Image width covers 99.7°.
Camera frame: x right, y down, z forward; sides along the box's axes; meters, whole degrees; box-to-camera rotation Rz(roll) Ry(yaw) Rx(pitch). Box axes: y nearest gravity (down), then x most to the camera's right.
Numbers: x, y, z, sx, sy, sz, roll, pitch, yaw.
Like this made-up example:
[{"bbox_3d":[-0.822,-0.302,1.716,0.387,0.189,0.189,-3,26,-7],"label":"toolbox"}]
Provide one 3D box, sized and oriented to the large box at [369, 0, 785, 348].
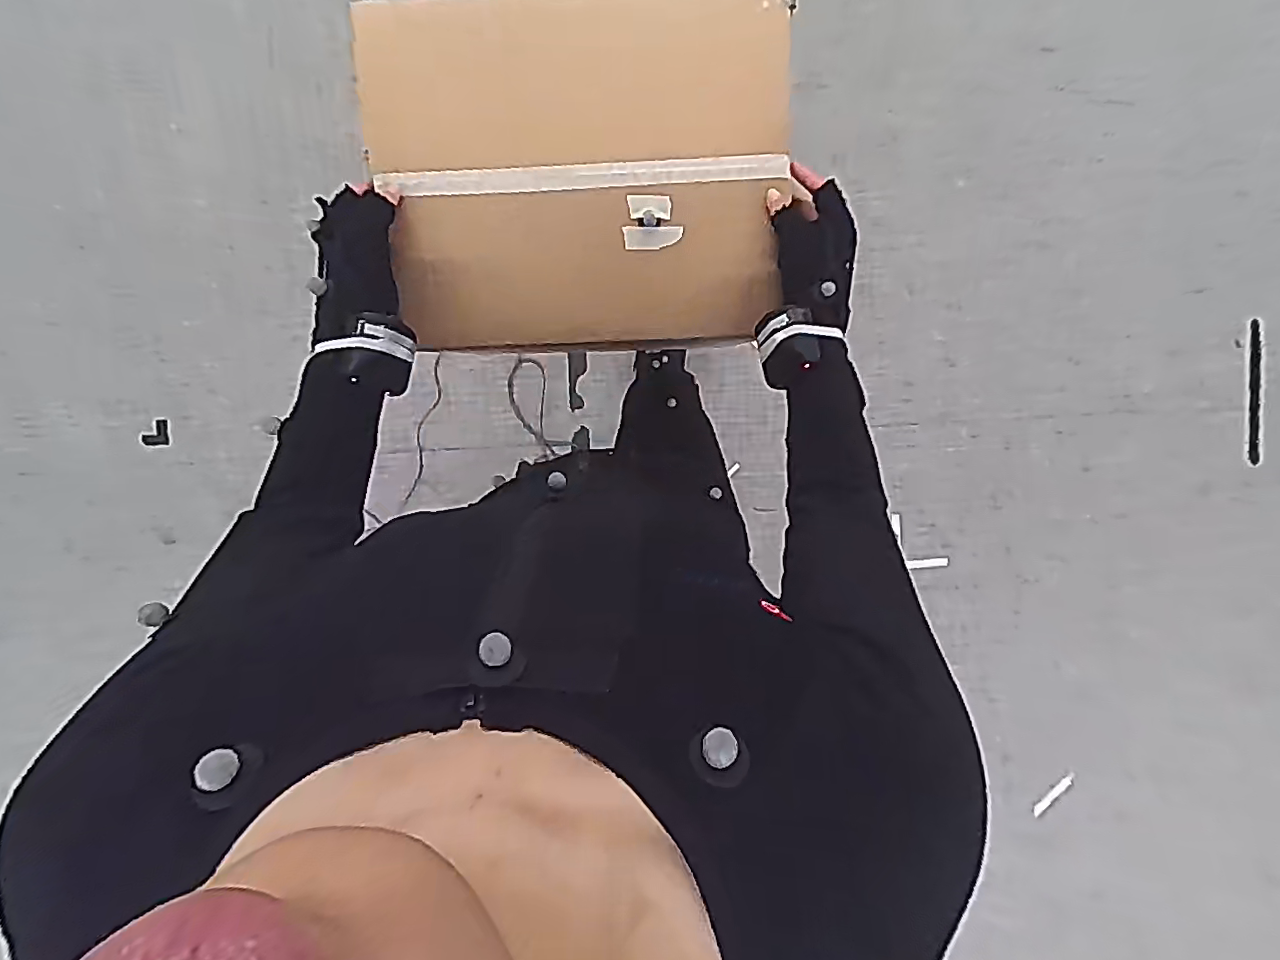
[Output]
[{"bbox_3d":[-0.056,-0.344,0.687,0.408,0.320,0.320,-3,102,0],"label":"large box"}]
